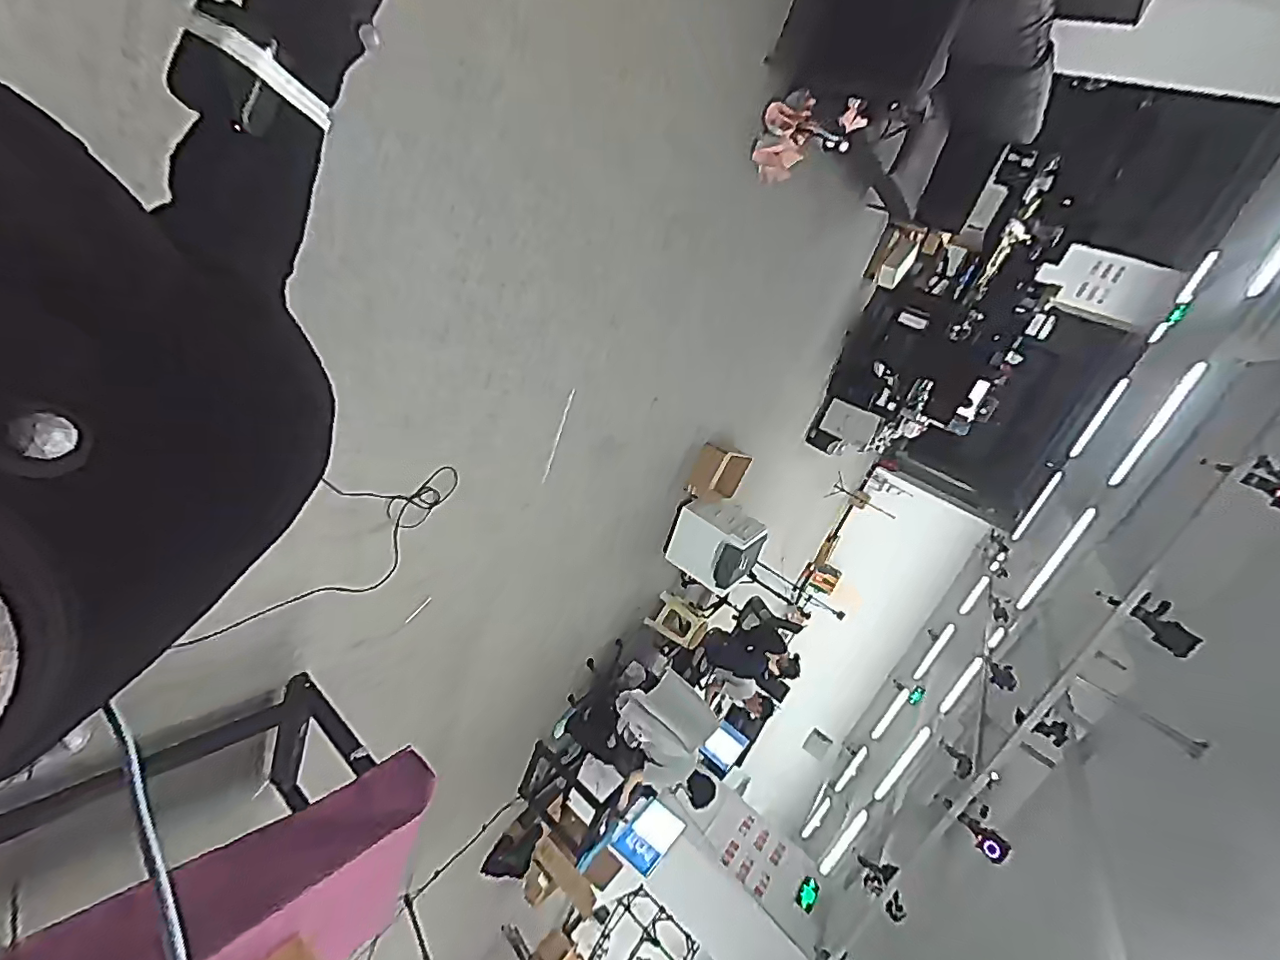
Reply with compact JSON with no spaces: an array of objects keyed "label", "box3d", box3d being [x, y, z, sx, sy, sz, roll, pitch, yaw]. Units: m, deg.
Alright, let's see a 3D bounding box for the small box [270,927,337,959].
[{"label":"small box","box3d":[-0.922,1.368,1.450,0.179,0.176,0.168,-12,129,-54]}]
